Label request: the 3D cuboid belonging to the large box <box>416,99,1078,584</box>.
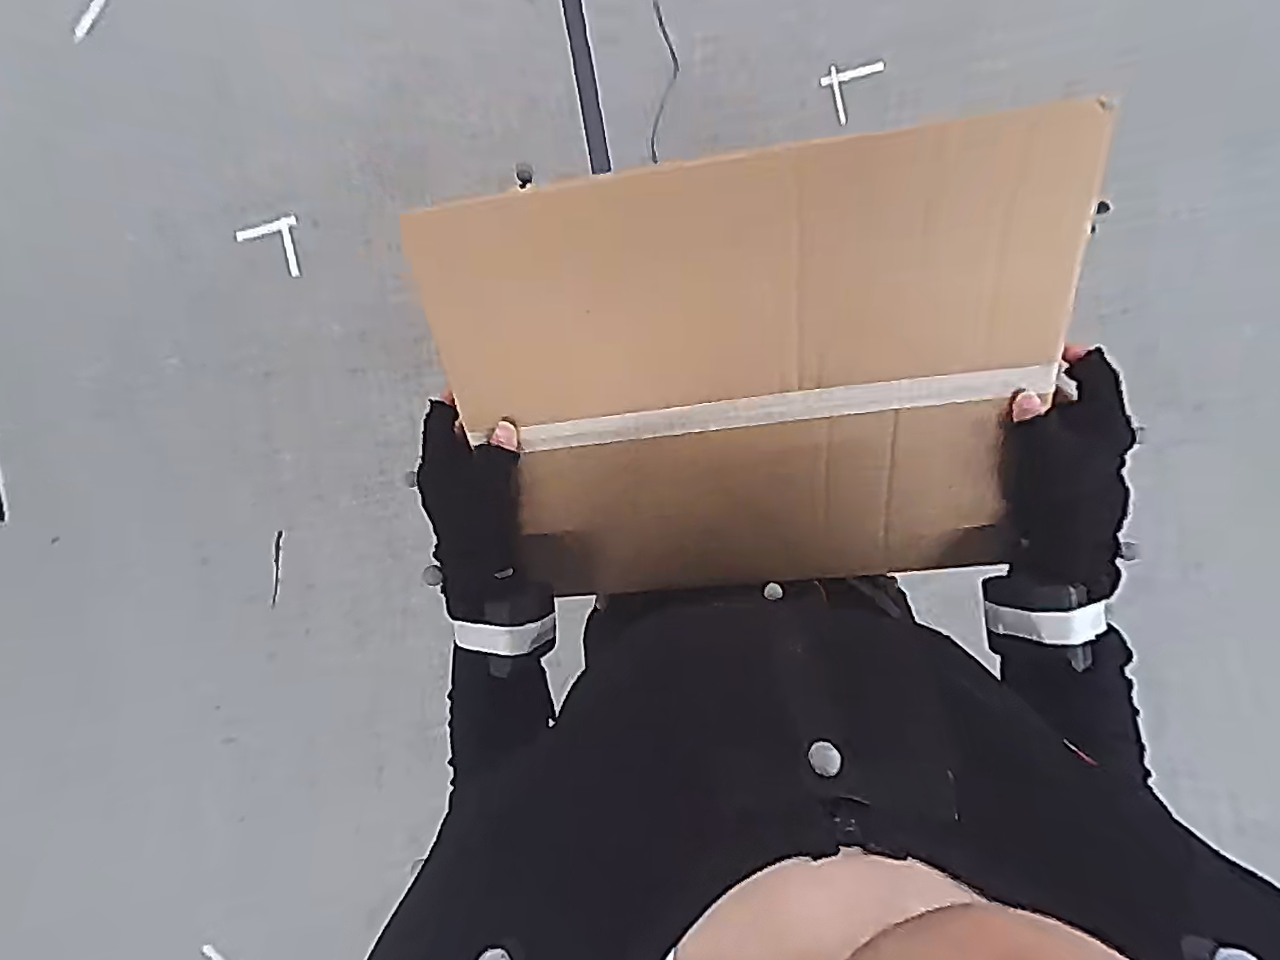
[{"bbox_3d":[0.078,-0.130,0.523,0.408,0.320,0.320,-5,120,7],"label":"large box"}]
